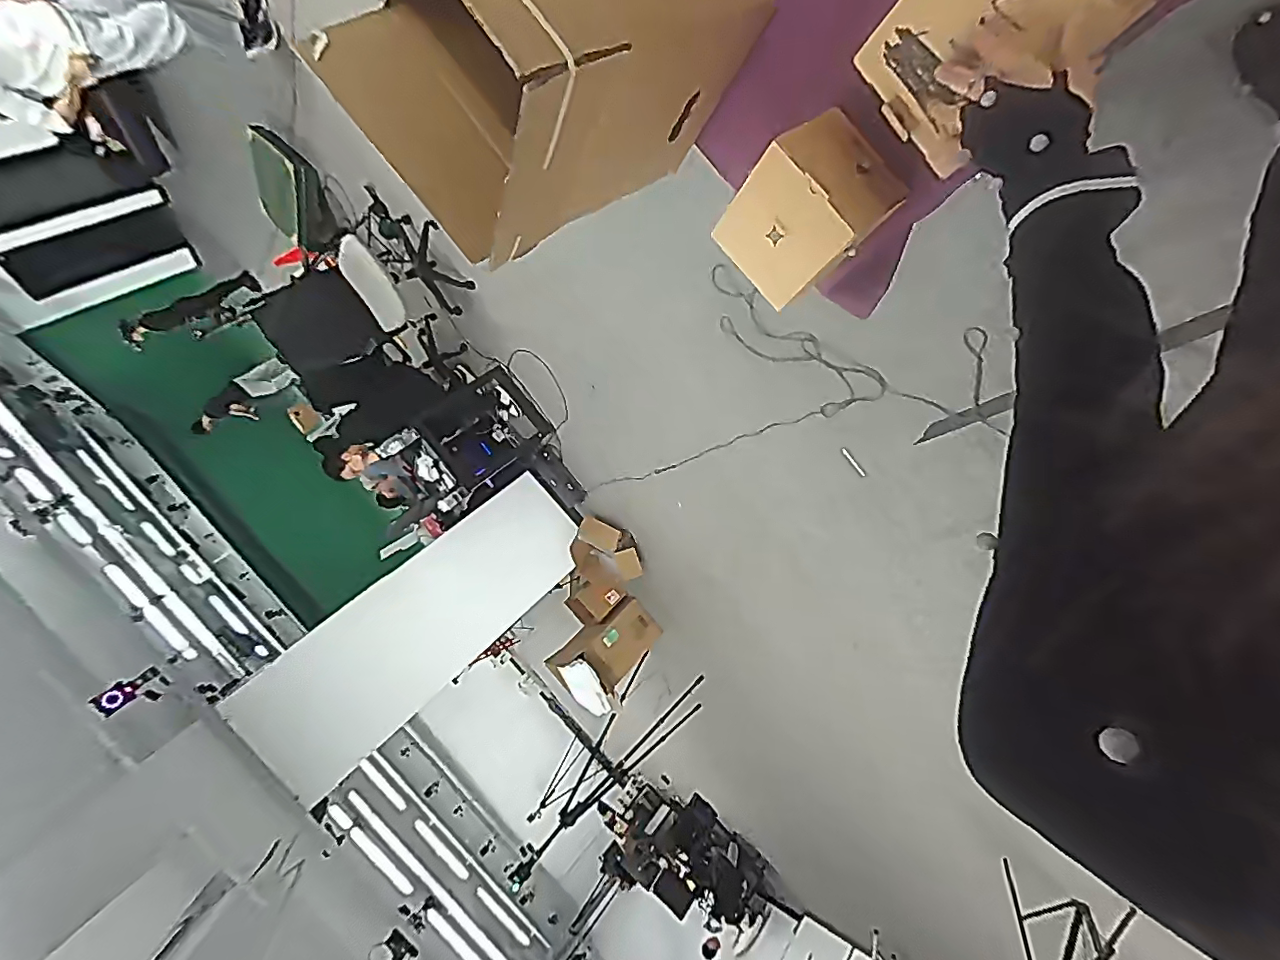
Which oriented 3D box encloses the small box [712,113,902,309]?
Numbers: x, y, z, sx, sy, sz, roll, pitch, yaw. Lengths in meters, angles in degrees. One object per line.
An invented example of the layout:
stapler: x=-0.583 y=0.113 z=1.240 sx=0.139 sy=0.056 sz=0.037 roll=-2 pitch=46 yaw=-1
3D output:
small box: x=0.248 y=-0.398 z=0.807 sx=0.168 sy=0.176 sz=0.179 roll=49 pitch=150 yaw=0
